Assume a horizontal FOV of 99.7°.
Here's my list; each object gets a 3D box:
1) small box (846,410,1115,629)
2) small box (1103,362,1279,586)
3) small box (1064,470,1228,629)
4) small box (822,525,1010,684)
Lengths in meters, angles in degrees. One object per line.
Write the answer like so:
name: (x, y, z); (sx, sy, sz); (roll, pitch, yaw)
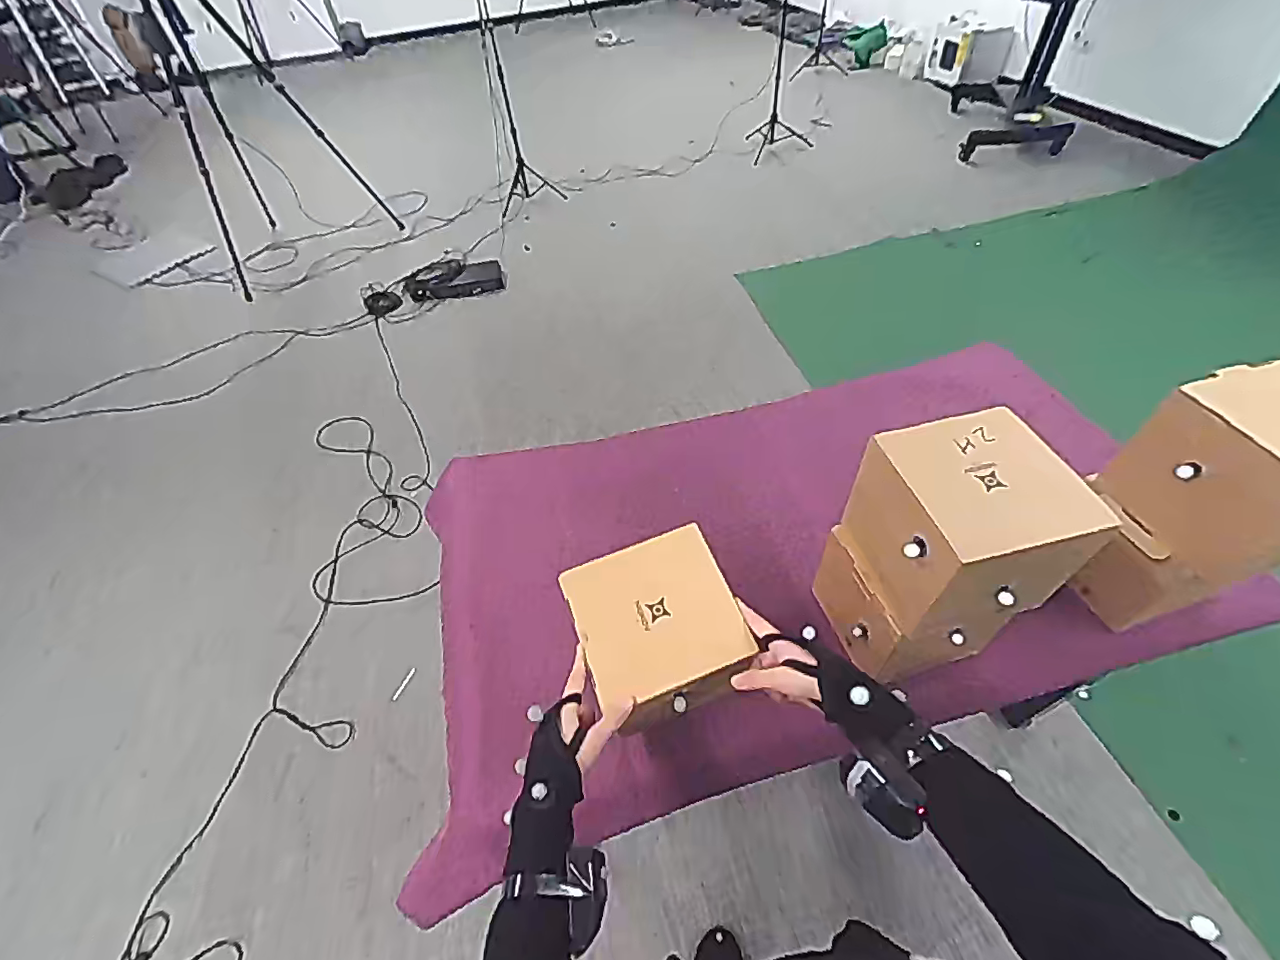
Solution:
small box: (0.360, 0.052, 0.617); (0.168, 0.176, 0.179); (-12, 49, -4)
small box: (0.707, -0.007, 0.626); (0.168, 0.176, 0.179); (-15, 49, -5)
small box: (0.719, 0.086, 0.763); (0.179, 0.176, 0.168); (-16, 50, -7)
small box: (0.367, 0.157, 0.743); (0.179, 0.176, 0.168); (-14, 49, -6)
